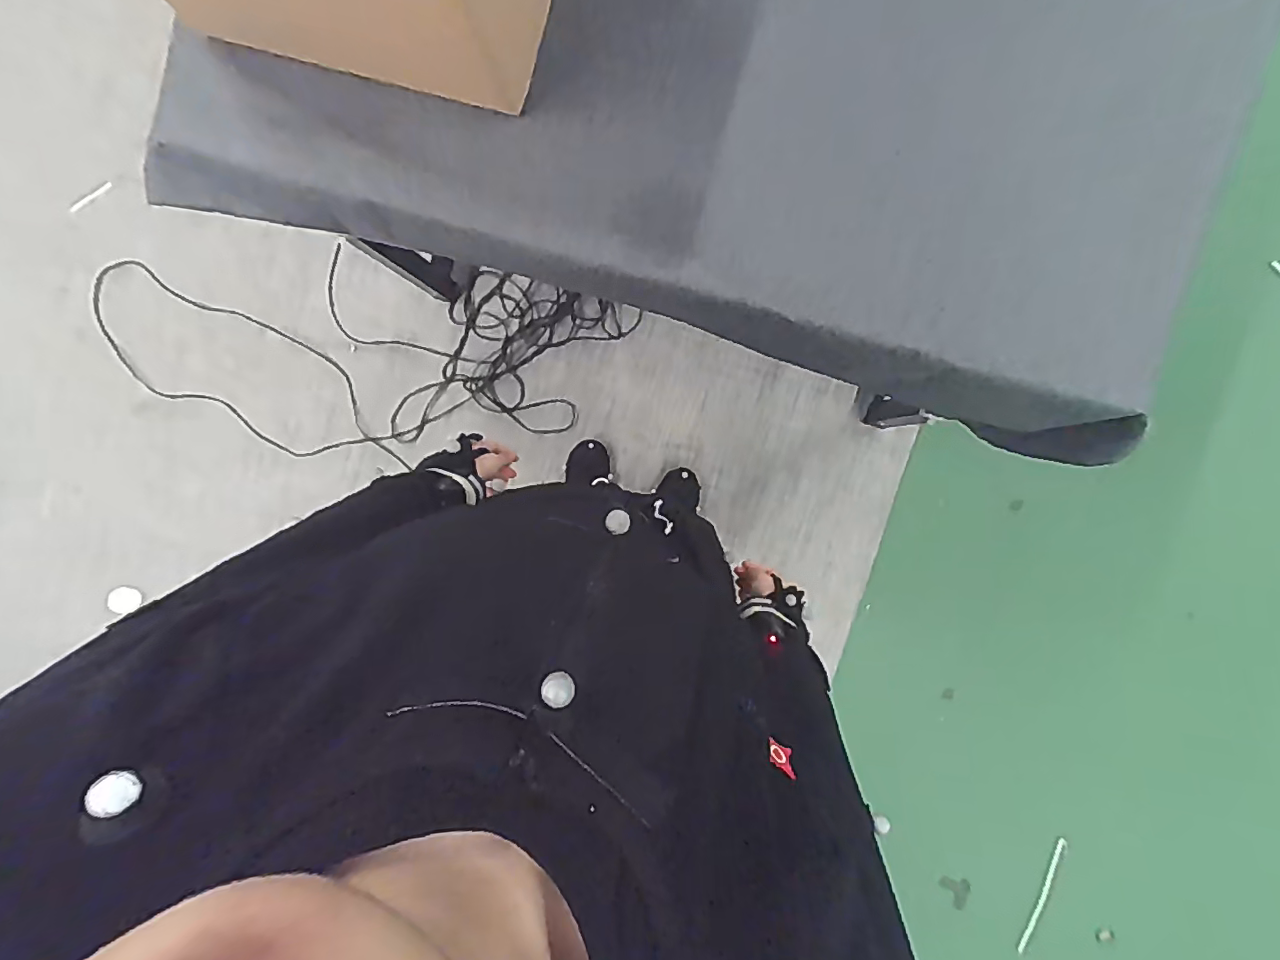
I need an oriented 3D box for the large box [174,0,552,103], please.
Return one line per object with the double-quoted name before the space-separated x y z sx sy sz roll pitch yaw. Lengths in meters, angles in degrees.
"large box" -0.289 -0.618 0.474 0.408 0.320 0.320 15 94 1
